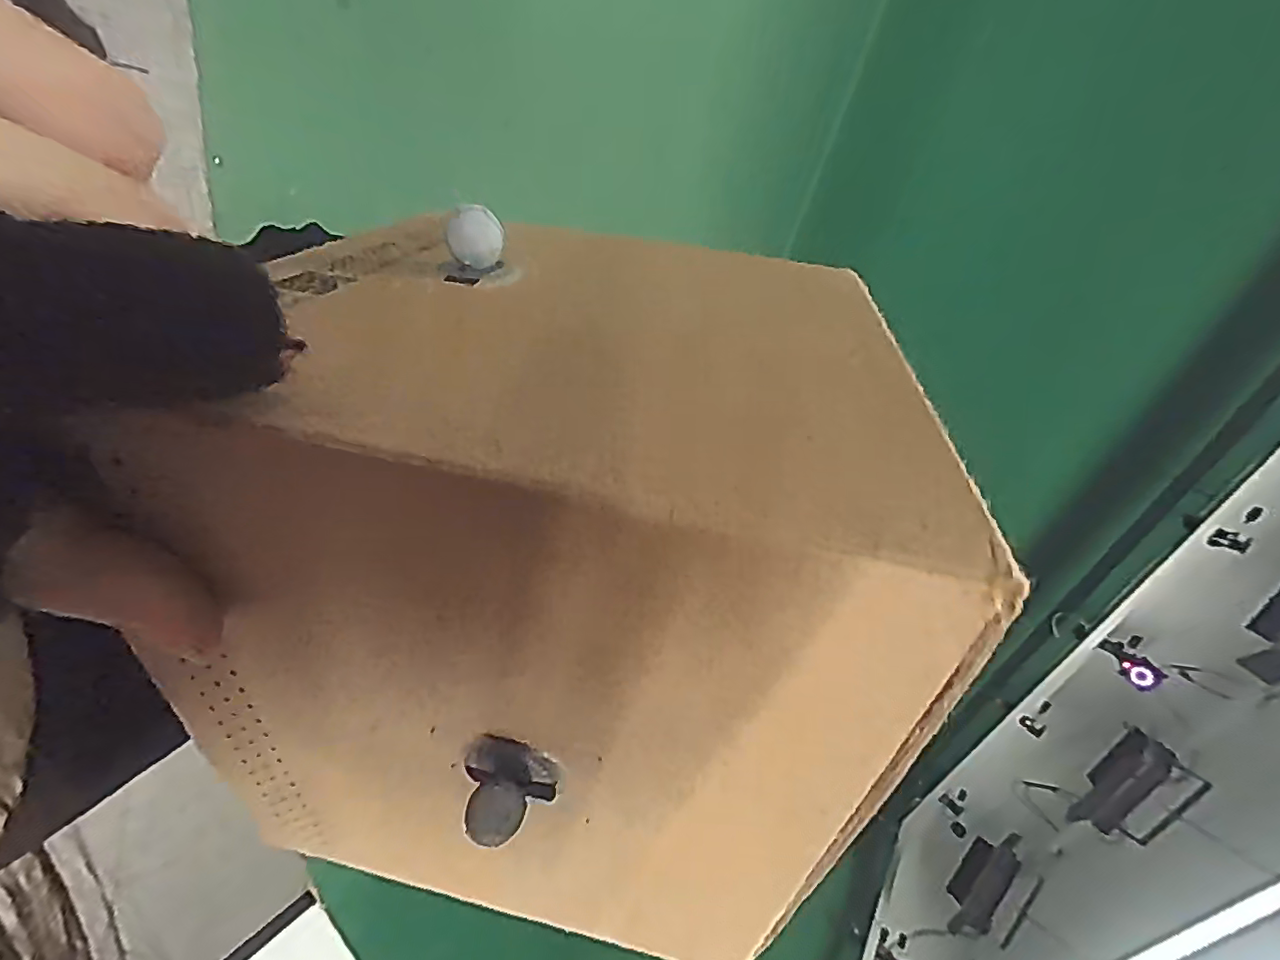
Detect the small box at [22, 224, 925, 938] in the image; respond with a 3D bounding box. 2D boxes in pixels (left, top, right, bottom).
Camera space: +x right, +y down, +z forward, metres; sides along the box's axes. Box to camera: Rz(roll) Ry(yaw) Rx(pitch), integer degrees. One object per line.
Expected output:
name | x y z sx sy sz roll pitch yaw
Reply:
small box | -0.032 0.021 0.200 0.168 0.176 0.179 -72 171 -55
